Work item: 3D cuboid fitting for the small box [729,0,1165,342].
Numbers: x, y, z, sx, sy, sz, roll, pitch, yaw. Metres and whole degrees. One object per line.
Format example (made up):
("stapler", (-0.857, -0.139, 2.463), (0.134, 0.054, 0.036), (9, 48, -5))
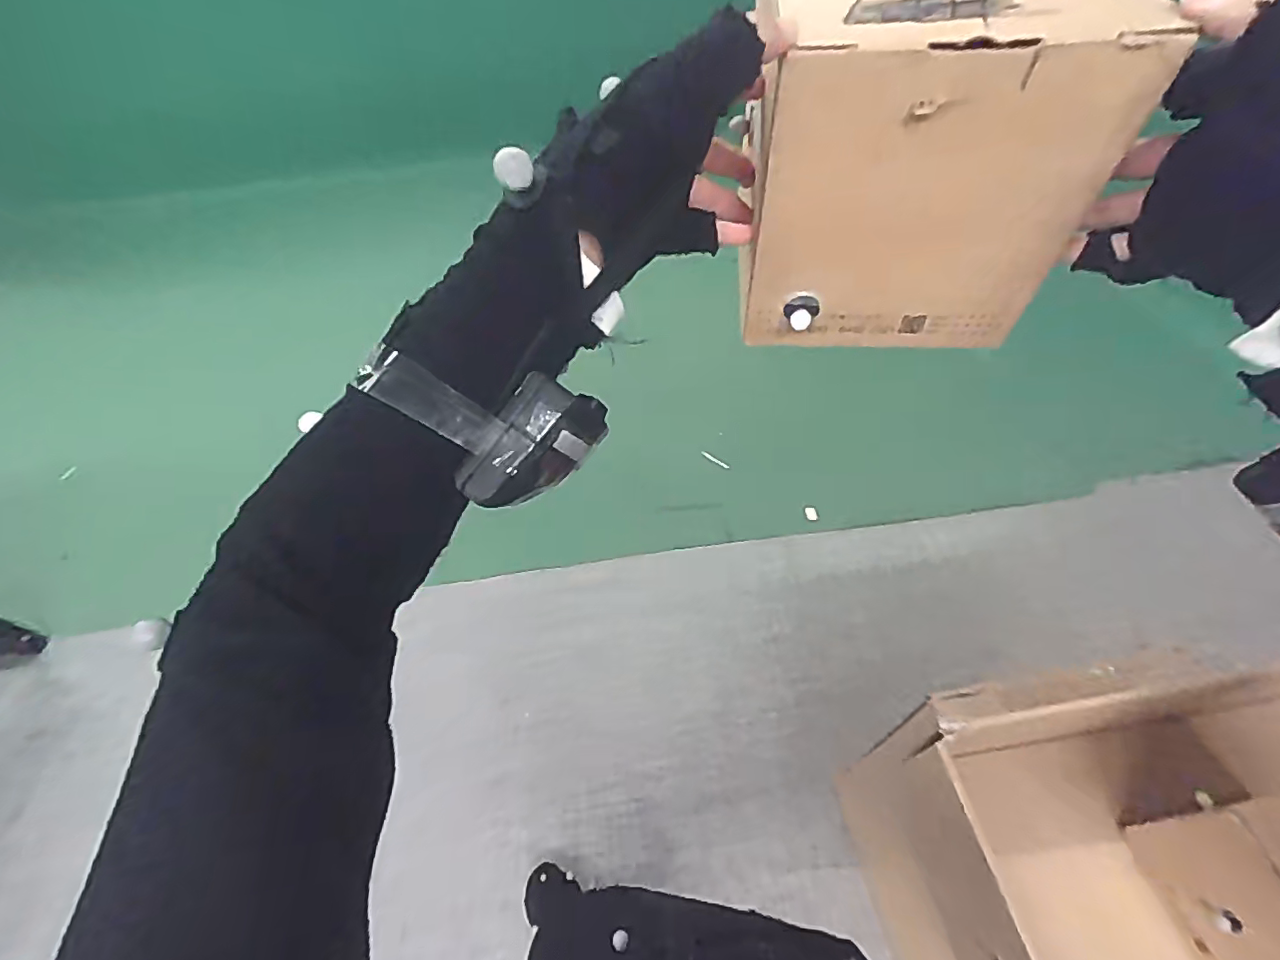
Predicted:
("small box", (0.147, -0.204, 0.341), (0.168, 0.176, 0.179), (2, 56, 5))

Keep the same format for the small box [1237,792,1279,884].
("small box", (0.637, 0.301, 0.397), (0.179, 0.176, 0.168), (-11, 51, -4))
